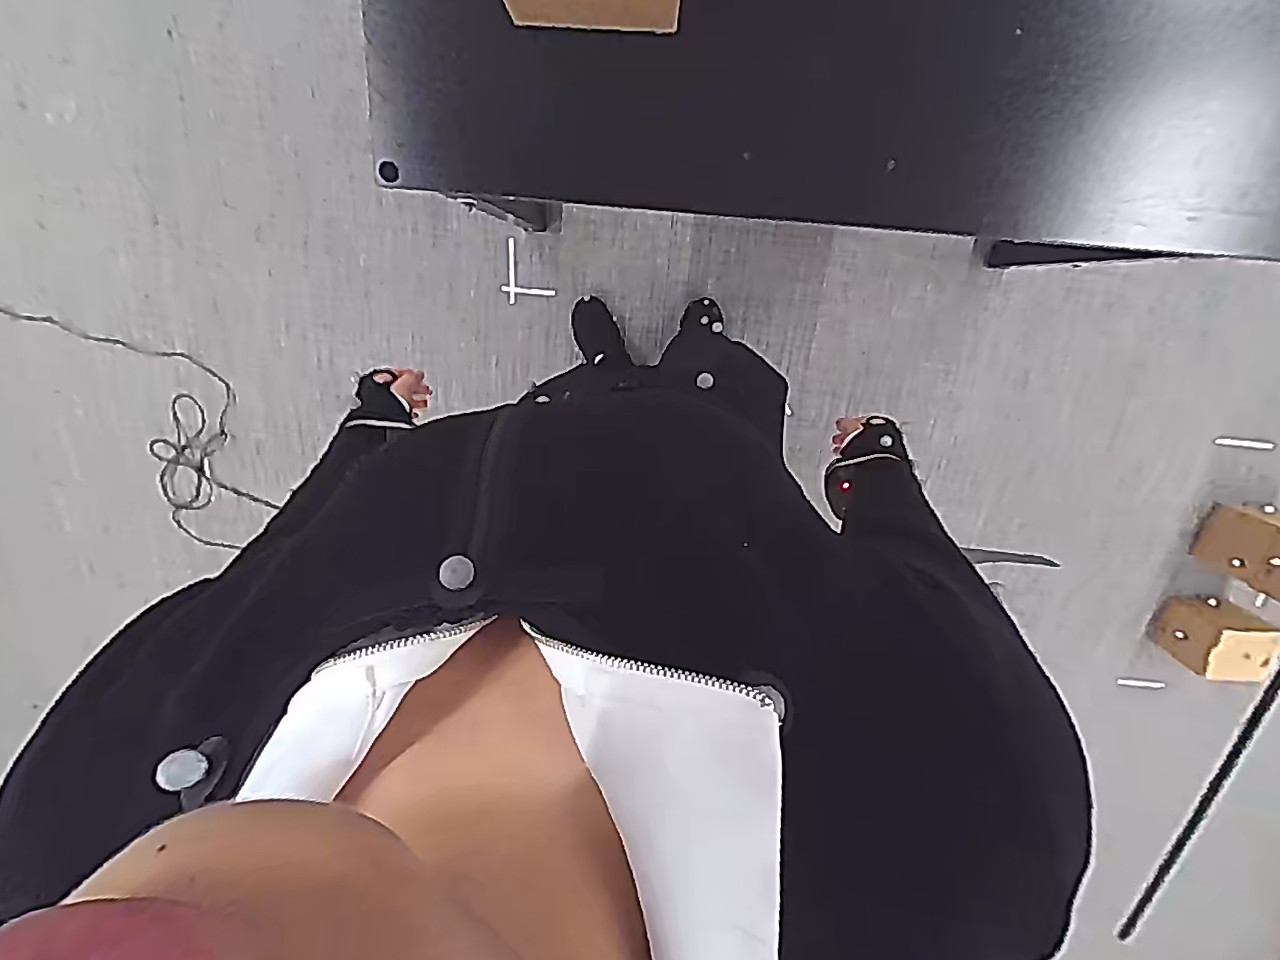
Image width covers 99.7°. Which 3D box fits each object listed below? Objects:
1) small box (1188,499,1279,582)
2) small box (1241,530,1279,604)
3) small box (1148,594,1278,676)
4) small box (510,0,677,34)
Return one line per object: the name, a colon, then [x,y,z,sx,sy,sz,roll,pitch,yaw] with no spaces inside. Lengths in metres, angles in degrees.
small box: [1.680,0.172,1.483,0.168,0.176,0.179,7,110,-1]
small box: [1.681,0.235,1.332,0.179,0.176,0.168,6,109,0]
small box: [1.667,0.450,1.587,0.179,0.176,0.168,2,110,1]
small box: [-0.046,-0.540,0.489,0.179,0.176,0.168,2,110,-1]
